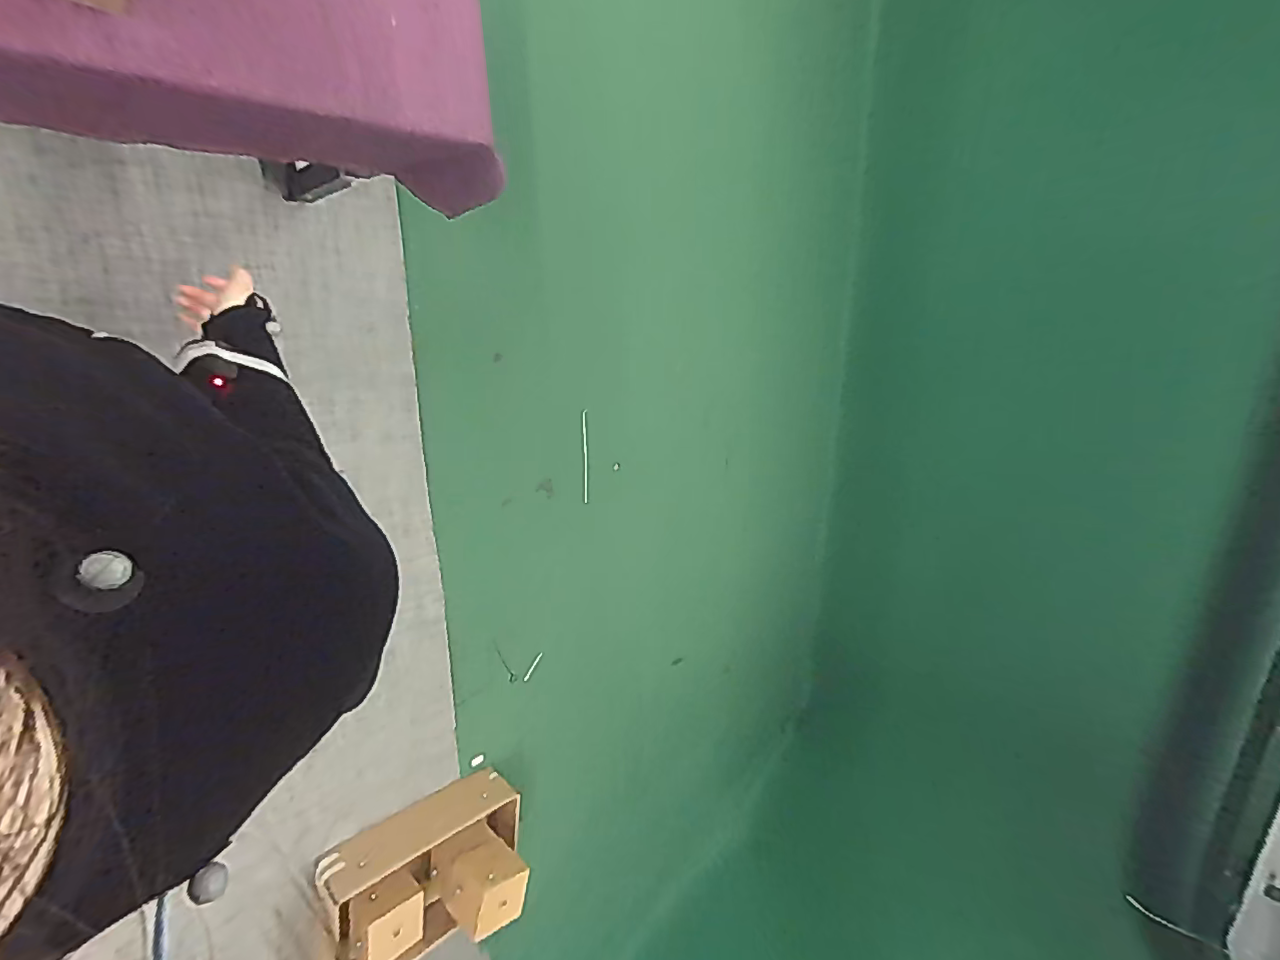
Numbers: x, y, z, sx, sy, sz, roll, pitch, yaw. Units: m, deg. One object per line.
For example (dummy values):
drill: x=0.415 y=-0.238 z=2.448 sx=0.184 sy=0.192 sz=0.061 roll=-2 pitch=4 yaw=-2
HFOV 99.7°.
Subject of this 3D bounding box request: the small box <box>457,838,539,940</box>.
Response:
small box: x=-0.460 y=1.306 z=1.746 sx=0.179 sy=0.176 sz=0.168 roll=9 pitch=93 yaw=-47
